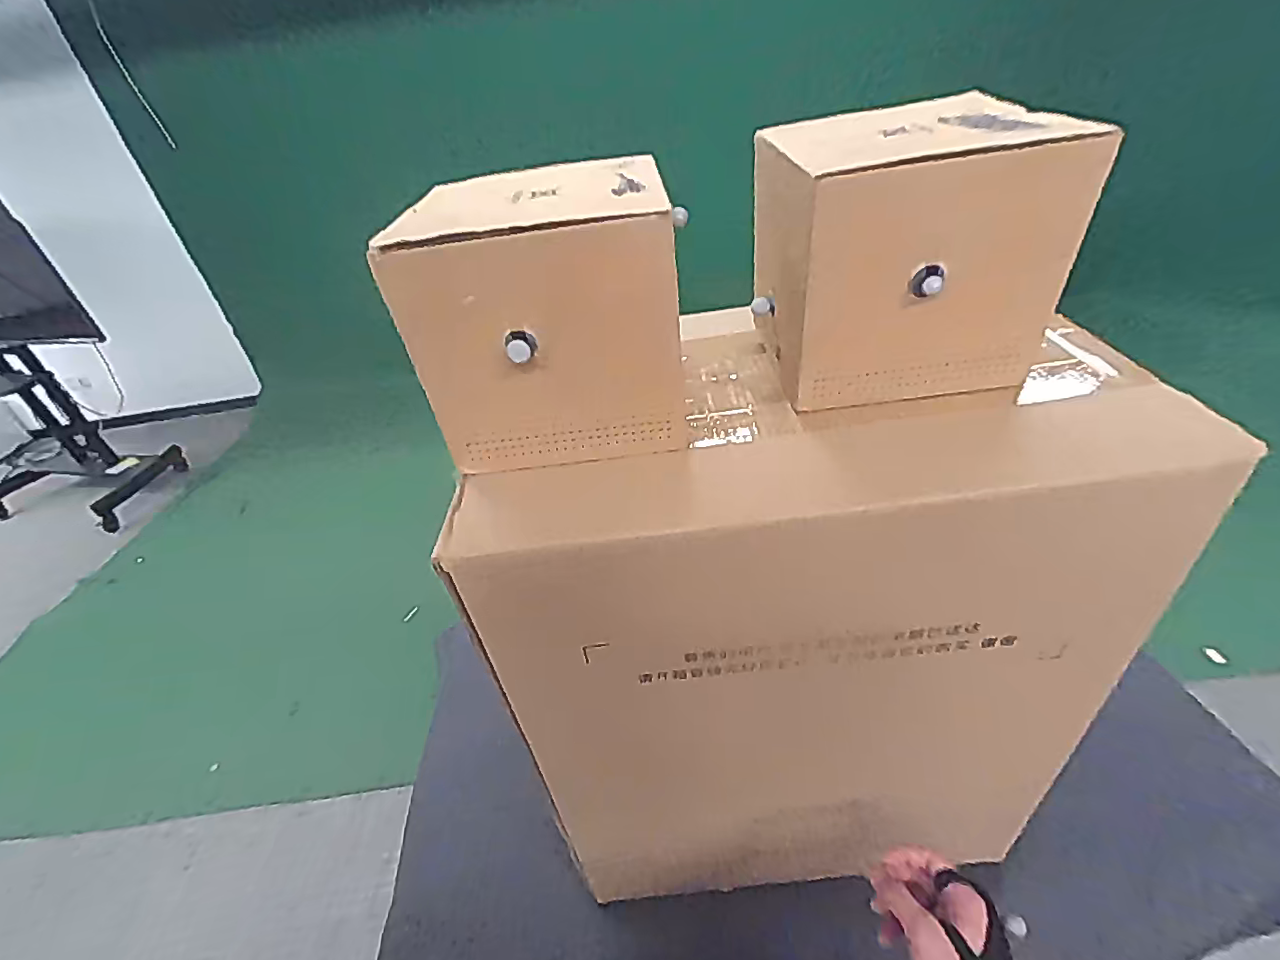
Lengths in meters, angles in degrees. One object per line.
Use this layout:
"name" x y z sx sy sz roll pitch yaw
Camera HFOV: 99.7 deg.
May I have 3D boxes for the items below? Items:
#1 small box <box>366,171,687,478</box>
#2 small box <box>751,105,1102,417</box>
"small box" -0.065 -0.117 0.417 0.179 0.176 0.168 -8 39 3
"small box" 0.187 -0.169 0.423 0.179 0.176 0.168 -8 40 4
